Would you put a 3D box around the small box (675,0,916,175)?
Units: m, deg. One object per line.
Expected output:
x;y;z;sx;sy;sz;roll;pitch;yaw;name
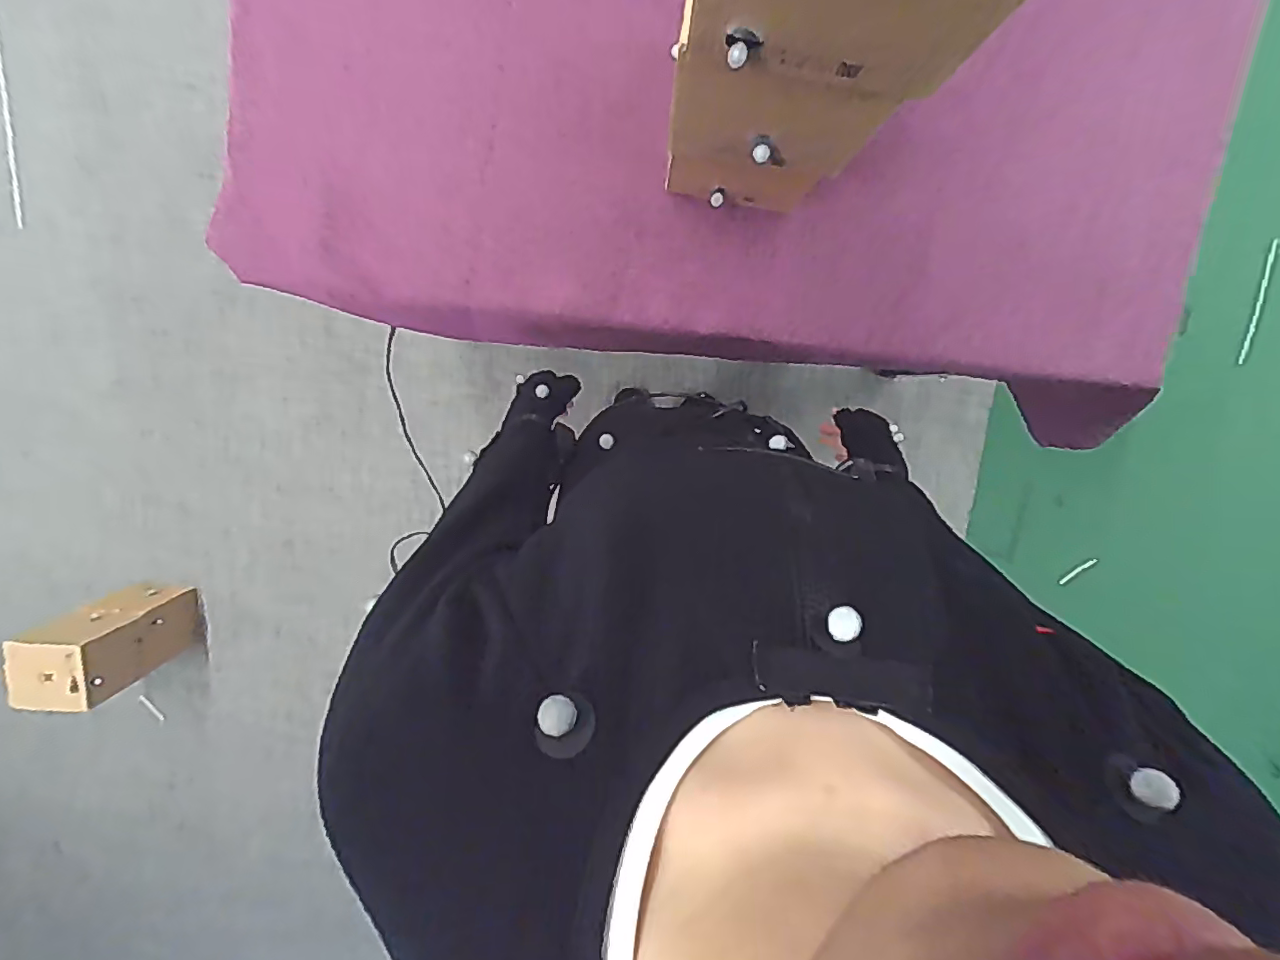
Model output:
0.122;-0.376;0.427;0.168;0.176;0.179;9;100;-1;small box

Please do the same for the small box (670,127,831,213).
0.128;-0.419;0.586;0.168;0.176;0.179;10;100;-1;small box

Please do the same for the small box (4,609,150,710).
-1.329;0.419;1.288;0.179;0.176;0.168;5;100;0;small box

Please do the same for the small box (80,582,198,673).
-1.331;0.391;1.450;0.168;0.176;0.179;4;100;-1;small box

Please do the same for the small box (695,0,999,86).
0.124;-0.339;0.267;0.168;0.176;0.179;9;99;-1;small box
